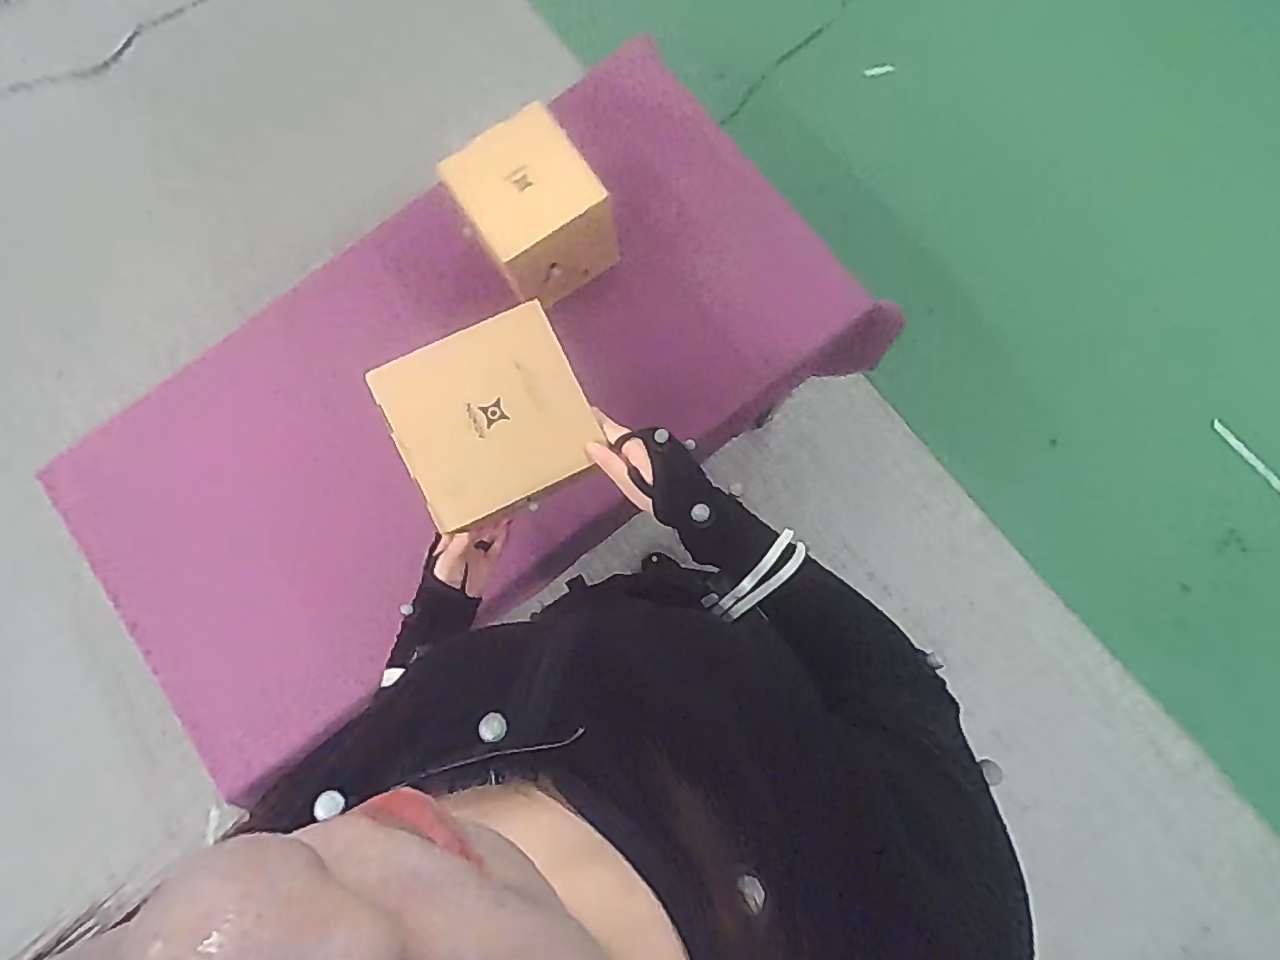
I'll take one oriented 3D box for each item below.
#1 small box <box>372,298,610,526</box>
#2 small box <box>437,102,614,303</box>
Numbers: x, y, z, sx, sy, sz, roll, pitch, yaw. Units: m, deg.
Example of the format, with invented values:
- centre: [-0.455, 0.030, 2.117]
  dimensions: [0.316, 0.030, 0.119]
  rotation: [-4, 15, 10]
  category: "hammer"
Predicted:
- centre: [-0.141, -0.059, 0.578]
  dimensions: [0.179, 0.176, 0.168]
  rotation: [-25, 89, -5]
  category: "small box"
- centre: [-0.152, -0.382, 0.788]
  dimensions: [0.168, 0.176, 0.179]
  rotation: [-34, 81, -2]
  category: "small box"
